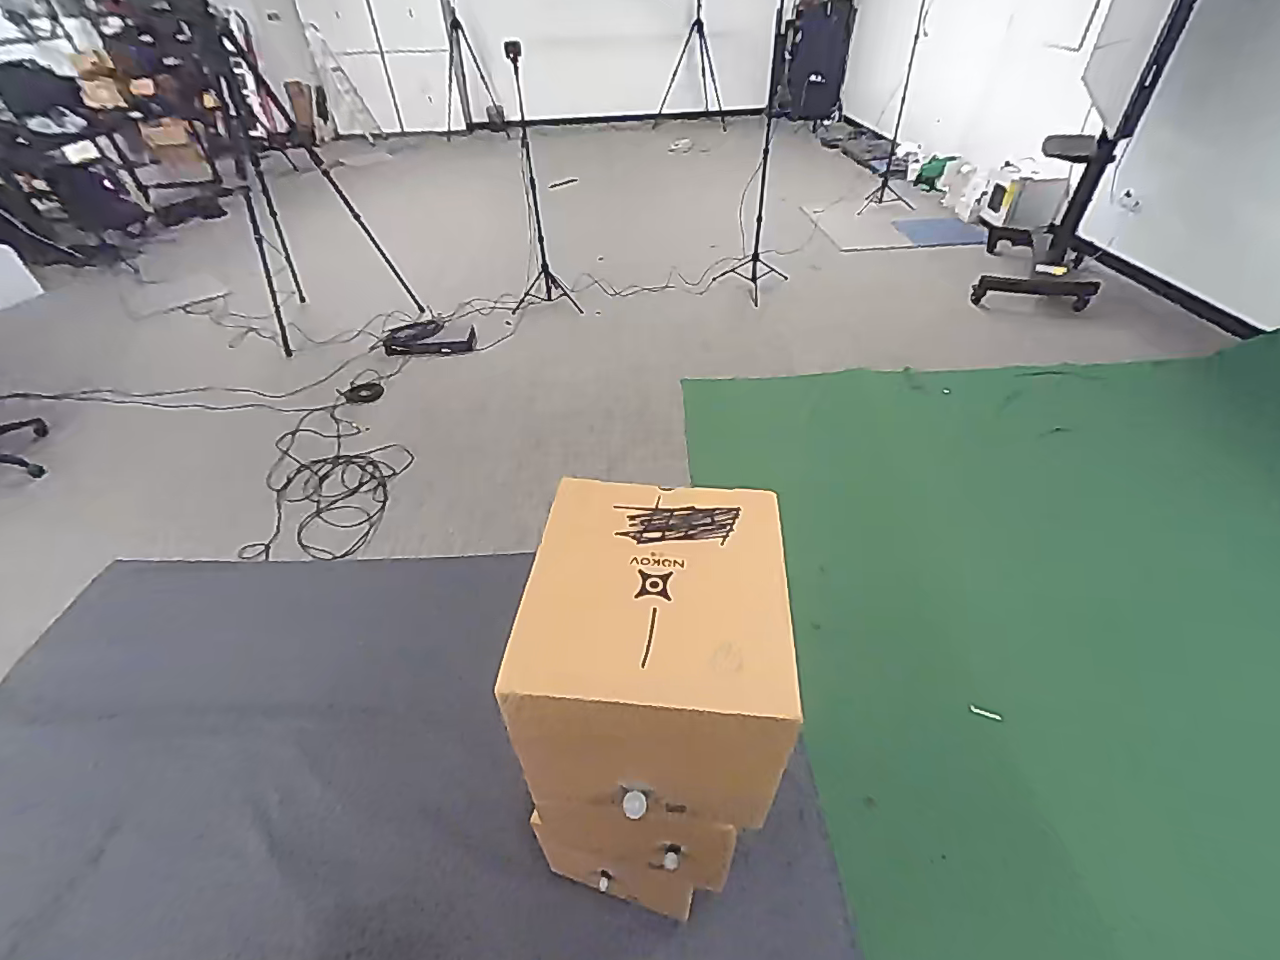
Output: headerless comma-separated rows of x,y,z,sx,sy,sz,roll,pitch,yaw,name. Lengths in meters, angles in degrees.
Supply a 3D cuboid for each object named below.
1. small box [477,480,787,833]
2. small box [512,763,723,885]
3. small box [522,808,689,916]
0.004,0.122,0.390,0.168,0.176,0.179,3,42,6,small box
0.002,0.241,0.504,0.168,0.176,0.179,7,41,10,small box
-0.011,0.357,0.618,0.168,0.176,0.179,10,42,14,small box
